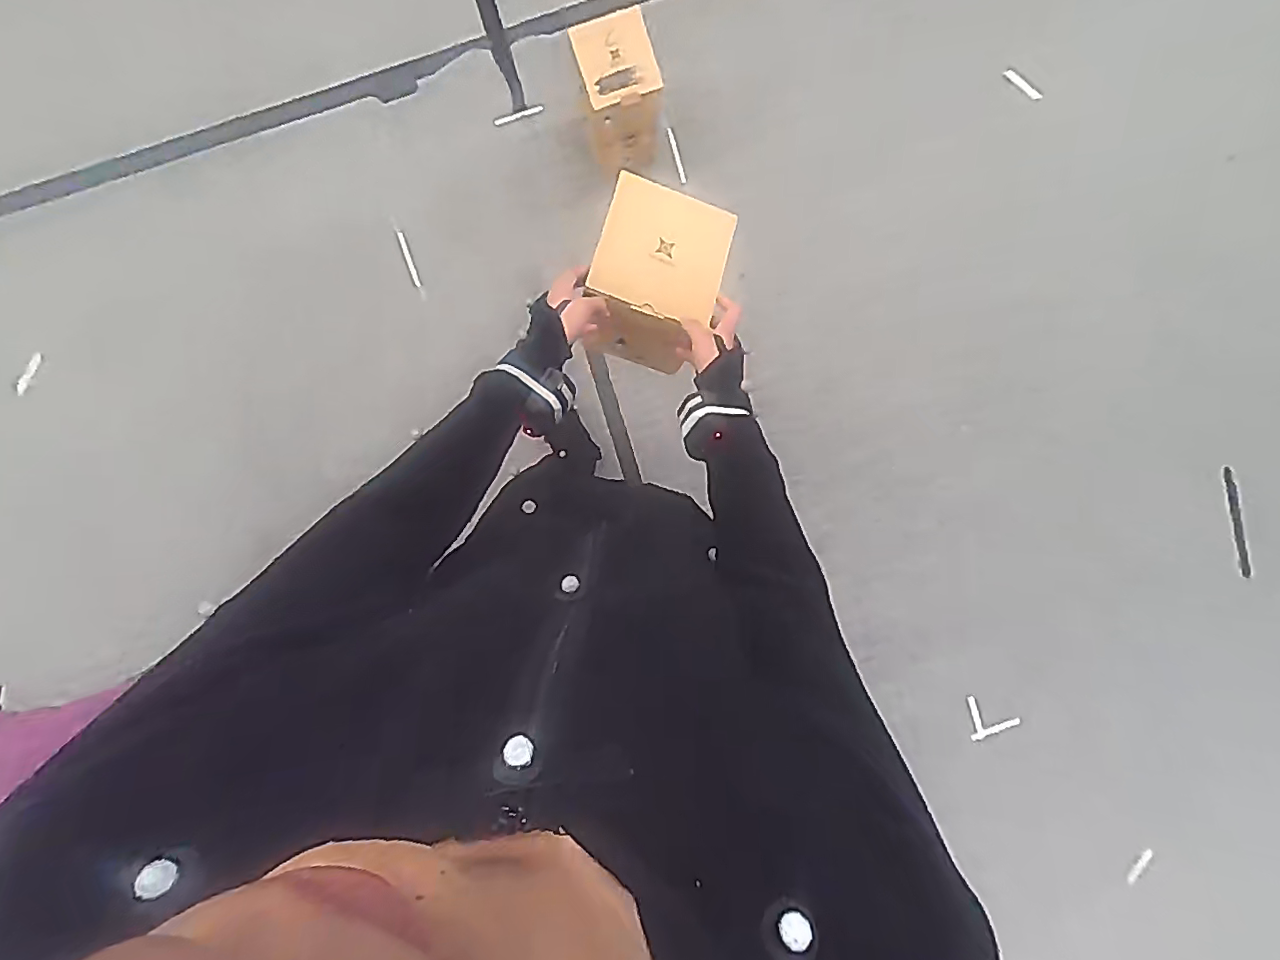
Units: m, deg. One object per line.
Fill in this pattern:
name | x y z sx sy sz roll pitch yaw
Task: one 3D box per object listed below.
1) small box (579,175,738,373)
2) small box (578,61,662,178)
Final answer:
small box | 0.017 -0.278 0.769 0.168 0.176 0.179 17 80 -9
small box | -0.056 -0.934 1.417 0.168 0.176 0.179 -21 99 0
